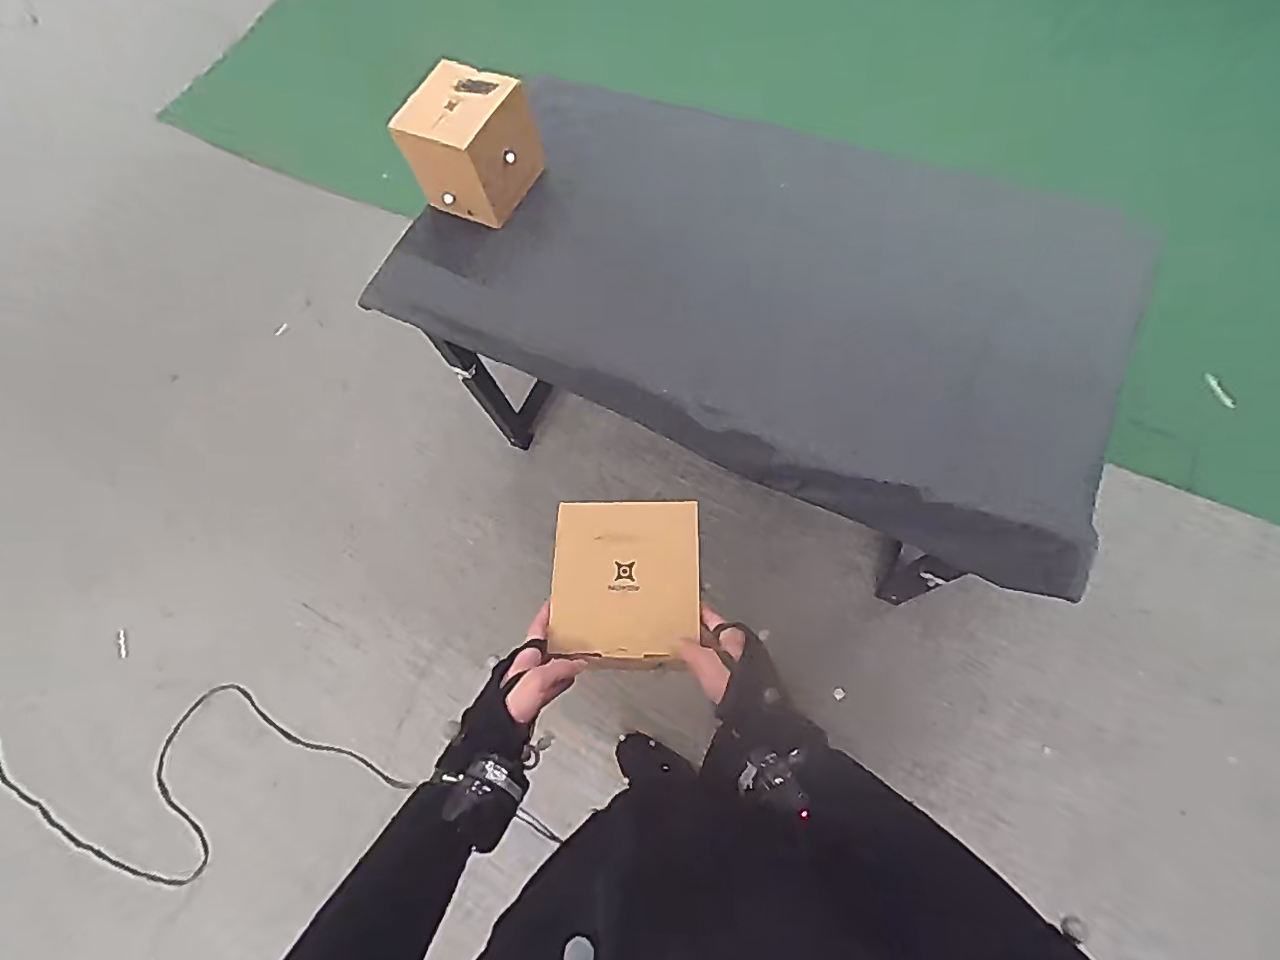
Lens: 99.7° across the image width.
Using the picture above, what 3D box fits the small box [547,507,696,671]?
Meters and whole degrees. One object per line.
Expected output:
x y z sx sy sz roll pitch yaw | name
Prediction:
-0.013 0.145 0.682 0.168 0.176 0.179 -1 66 3 | small box

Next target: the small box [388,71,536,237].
-0.308 -0.588 0.986 0.168 0.176 0.179 24 74 14 | small box
